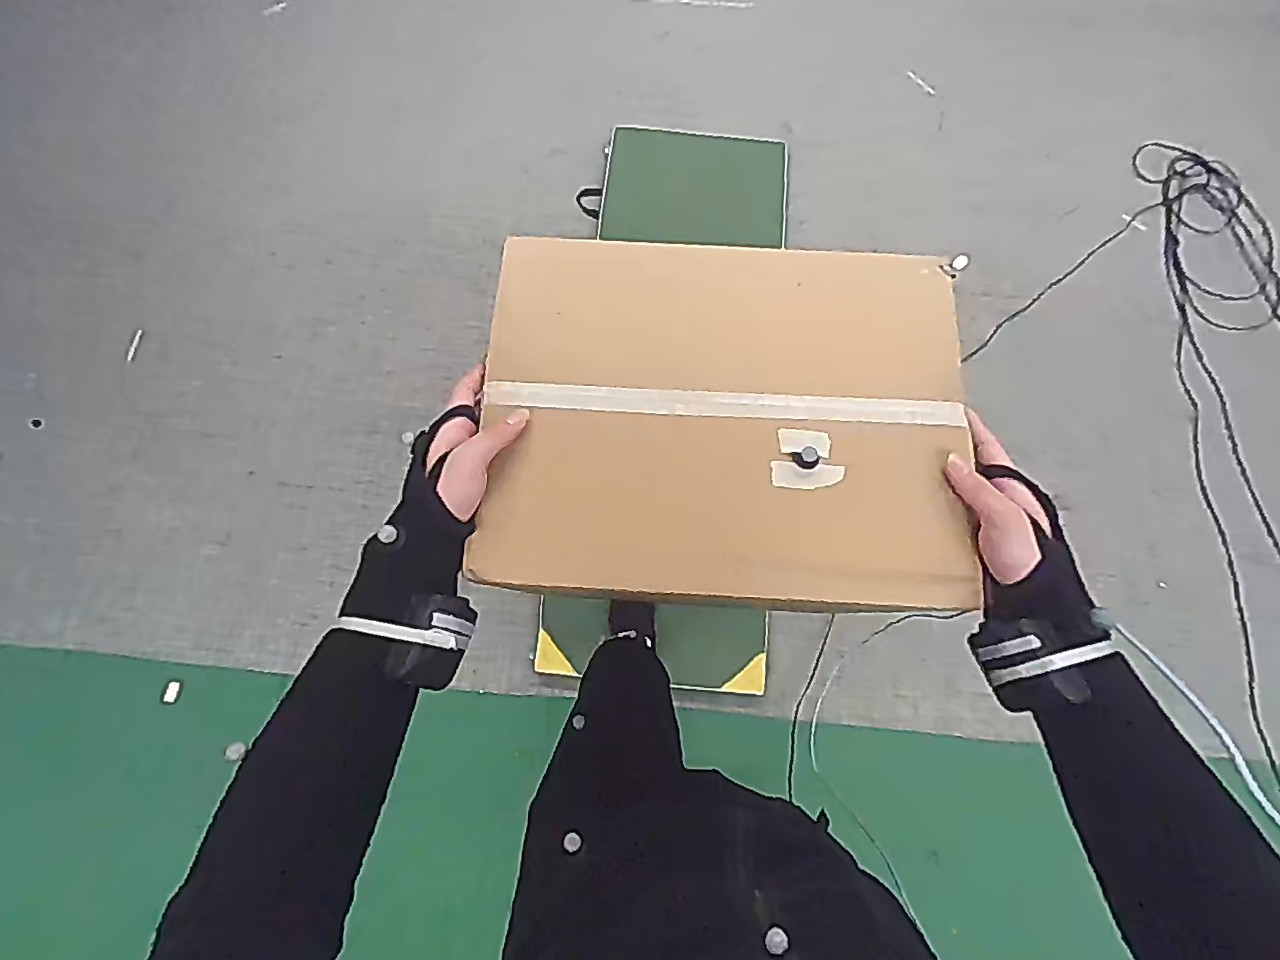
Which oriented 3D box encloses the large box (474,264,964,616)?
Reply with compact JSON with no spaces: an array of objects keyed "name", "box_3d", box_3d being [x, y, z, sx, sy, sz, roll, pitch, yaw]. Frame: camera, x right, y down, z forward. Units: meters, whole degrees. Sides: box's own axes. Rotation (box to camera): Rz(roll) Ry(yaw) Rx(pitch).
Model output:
[{"name":"large box","box_3d":[0.065,-0.012,0.613,0.408,0.320,0.320,3,76,0]}]
